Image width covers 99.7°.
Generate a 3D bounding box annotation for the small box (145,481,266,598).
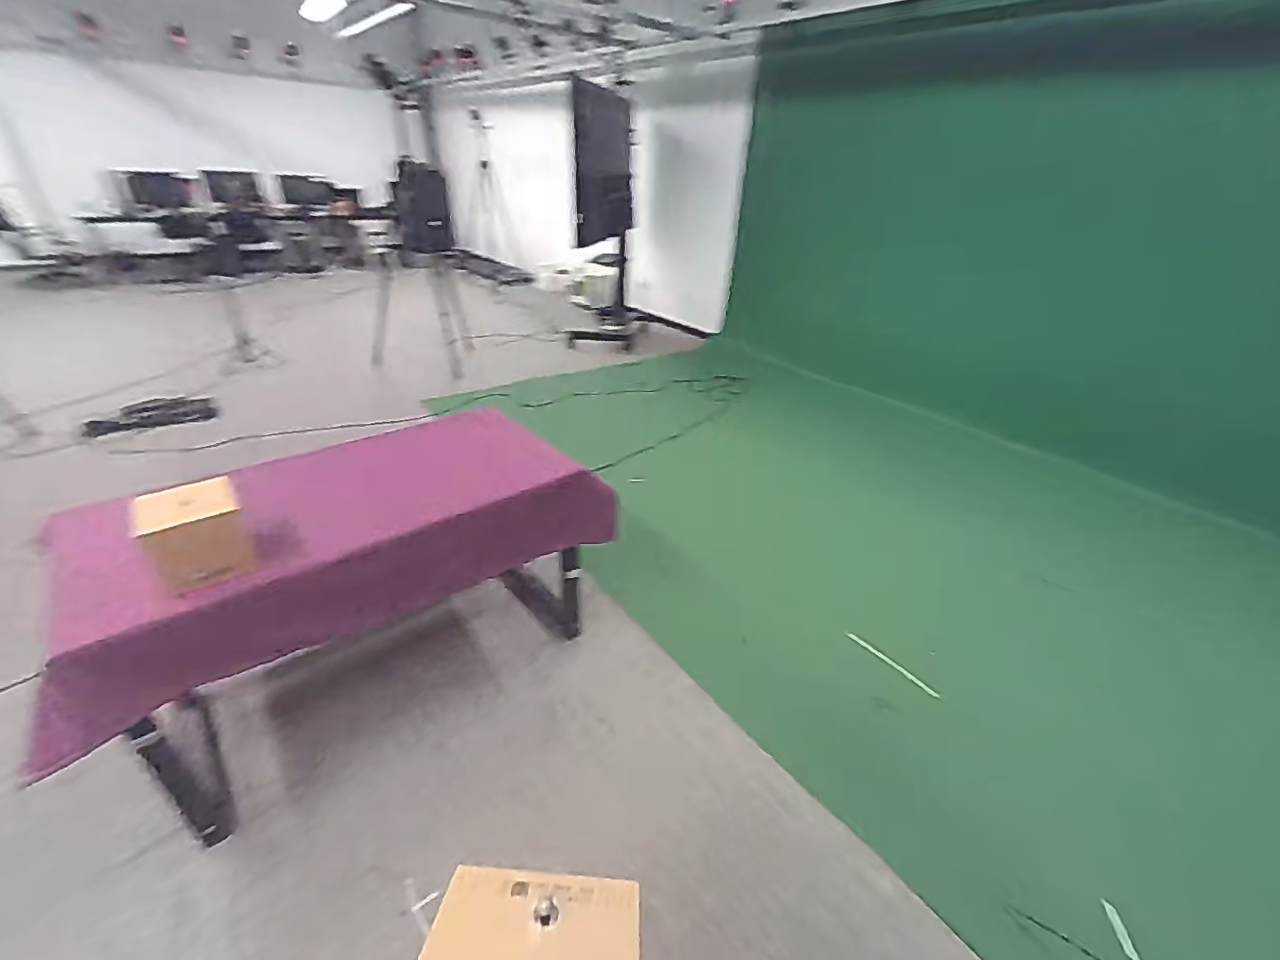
[{"bbox_3d":[-0.959,0.129,1.199,0.168,0.176,0.179,-21,38,-34],"label":"small box"}]
